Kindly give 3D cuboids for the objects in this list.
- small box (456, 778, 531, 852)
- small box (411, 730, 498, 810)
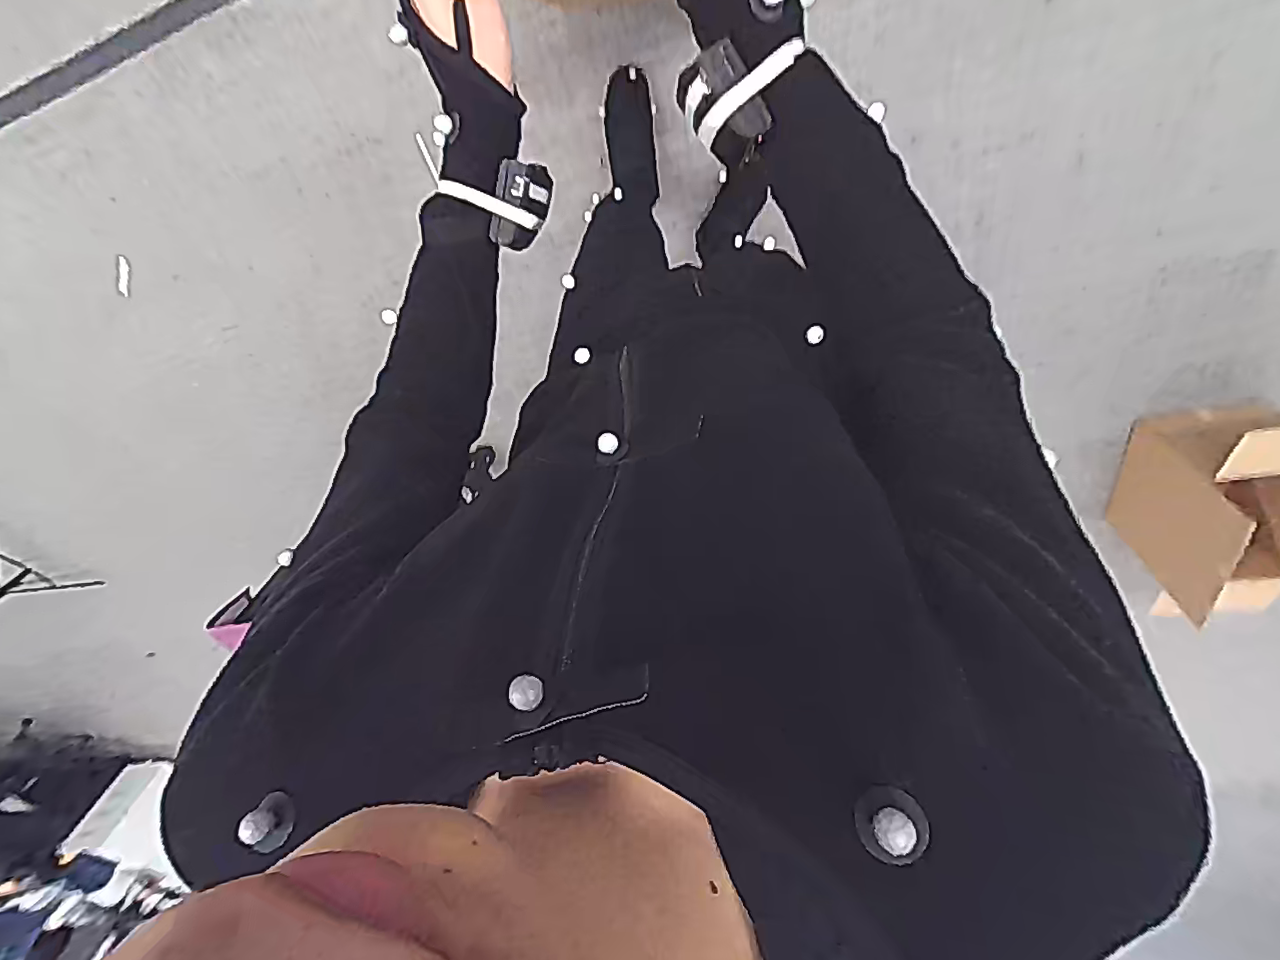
[{"bbox_3d":[-0.486,1.121,1.819,0.179,0.176,0.168,-2,128,9],"label":"small box"},{"bbox_3d":[-0.548,0.872,1.632,0.179,0.176,0.168,-7,126,13],"label":"small box"}]
